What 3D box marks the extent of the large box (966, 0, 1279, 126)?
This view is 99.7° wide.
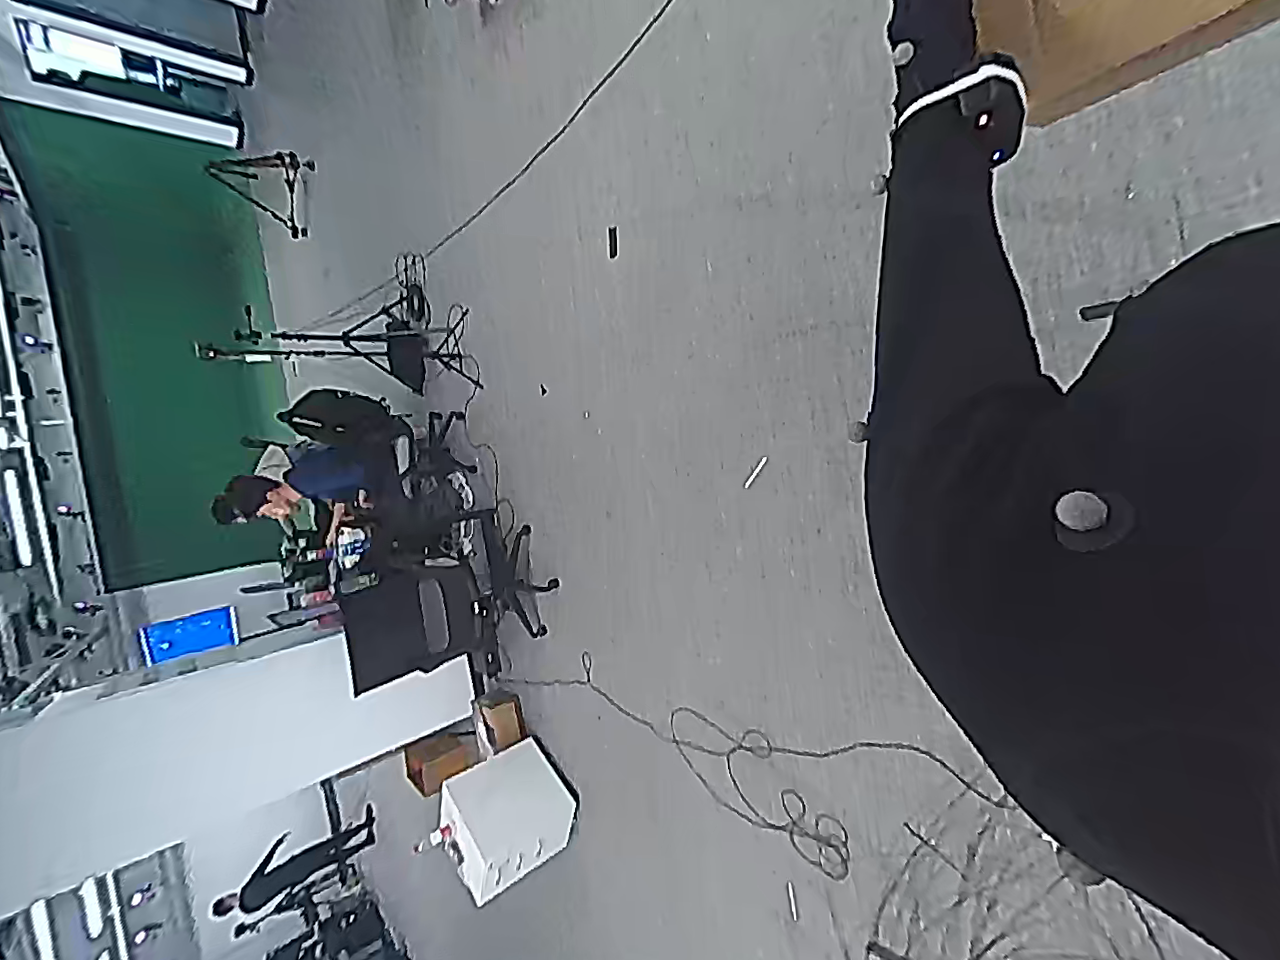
[{"bbox_3d":[0.496,-0.549,0.420,0.408,0.320,0.320,-8,109,46],"label":"large box"}]
